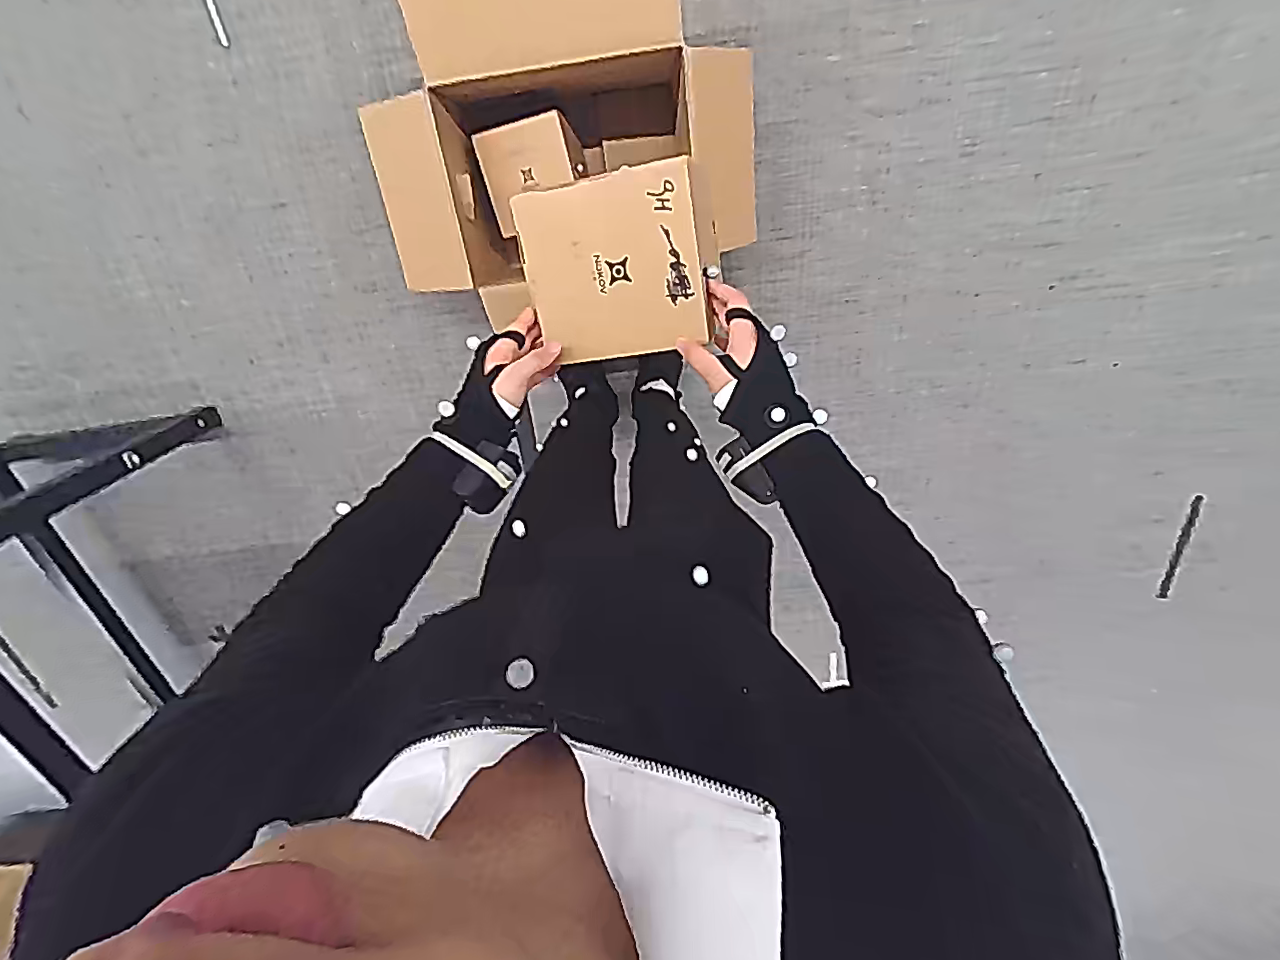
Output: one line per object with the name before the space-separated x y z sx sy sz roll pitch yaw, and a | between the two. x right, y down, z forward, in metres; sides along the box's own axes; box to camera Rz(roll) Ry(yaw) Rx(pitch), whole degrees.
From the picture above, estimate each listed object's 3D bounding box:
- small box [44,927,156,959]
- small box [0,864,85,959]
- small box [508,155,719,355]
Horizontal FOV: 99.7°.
small box | -1.214 1.098 1.155 0.179 0.176 0.168 -9 117 4
small box | -1.251 0.864 1.032 0.168 0.176 0.179 -6 117 5
small box | -0.015 -0.245 0.603 0.179 0.176 0.168 -3 115 17
